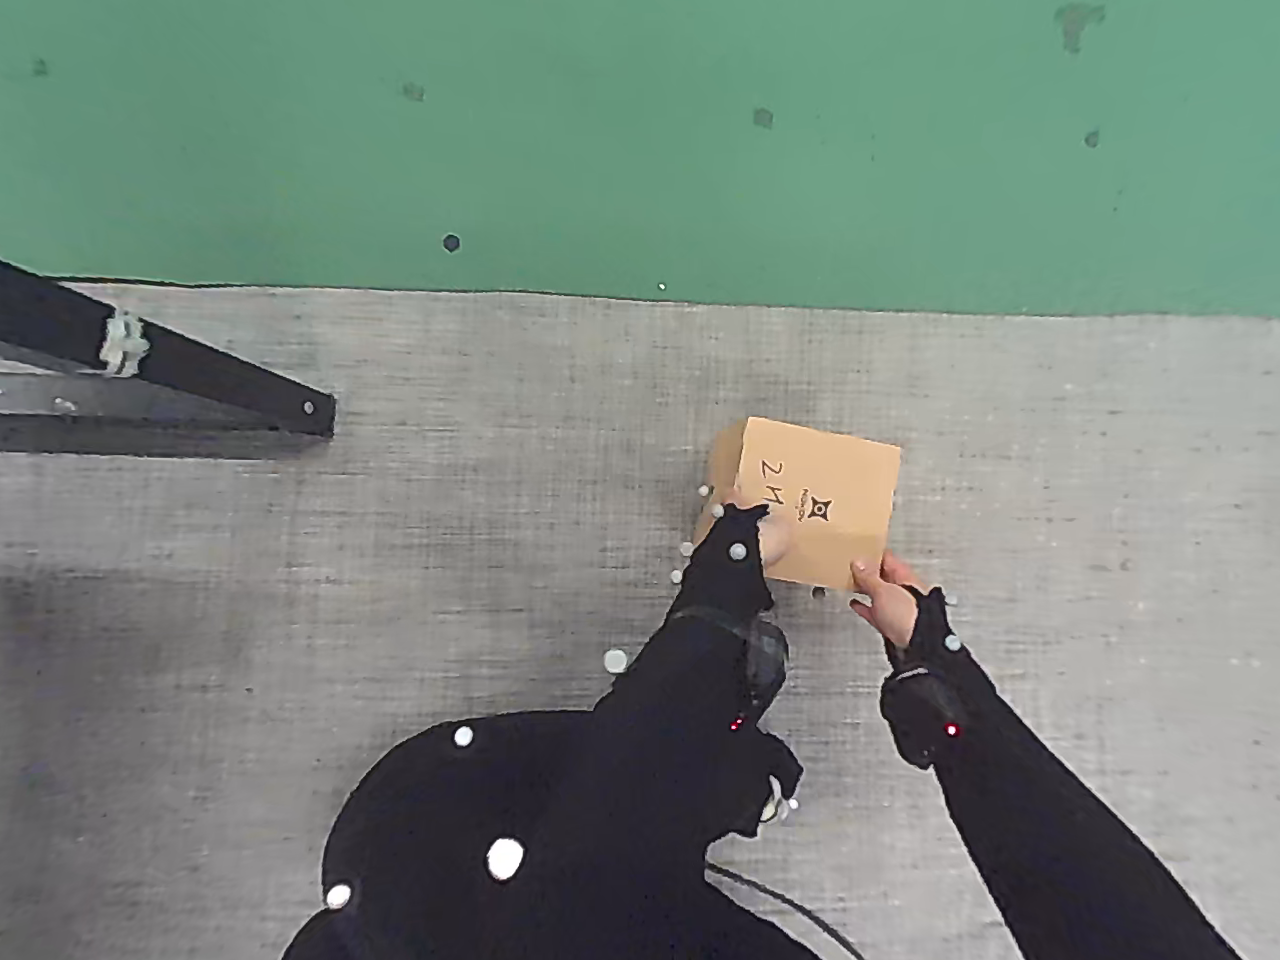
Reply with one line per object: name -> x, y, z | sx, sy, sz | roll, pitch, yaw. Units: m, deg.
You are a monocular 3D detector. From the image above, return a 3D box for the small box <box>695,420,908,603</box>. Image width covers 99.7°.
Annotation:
small box -> 0.178, 0.035, 0.645 | 0.179, 0.176, 0.168 | 13, 87, -5
